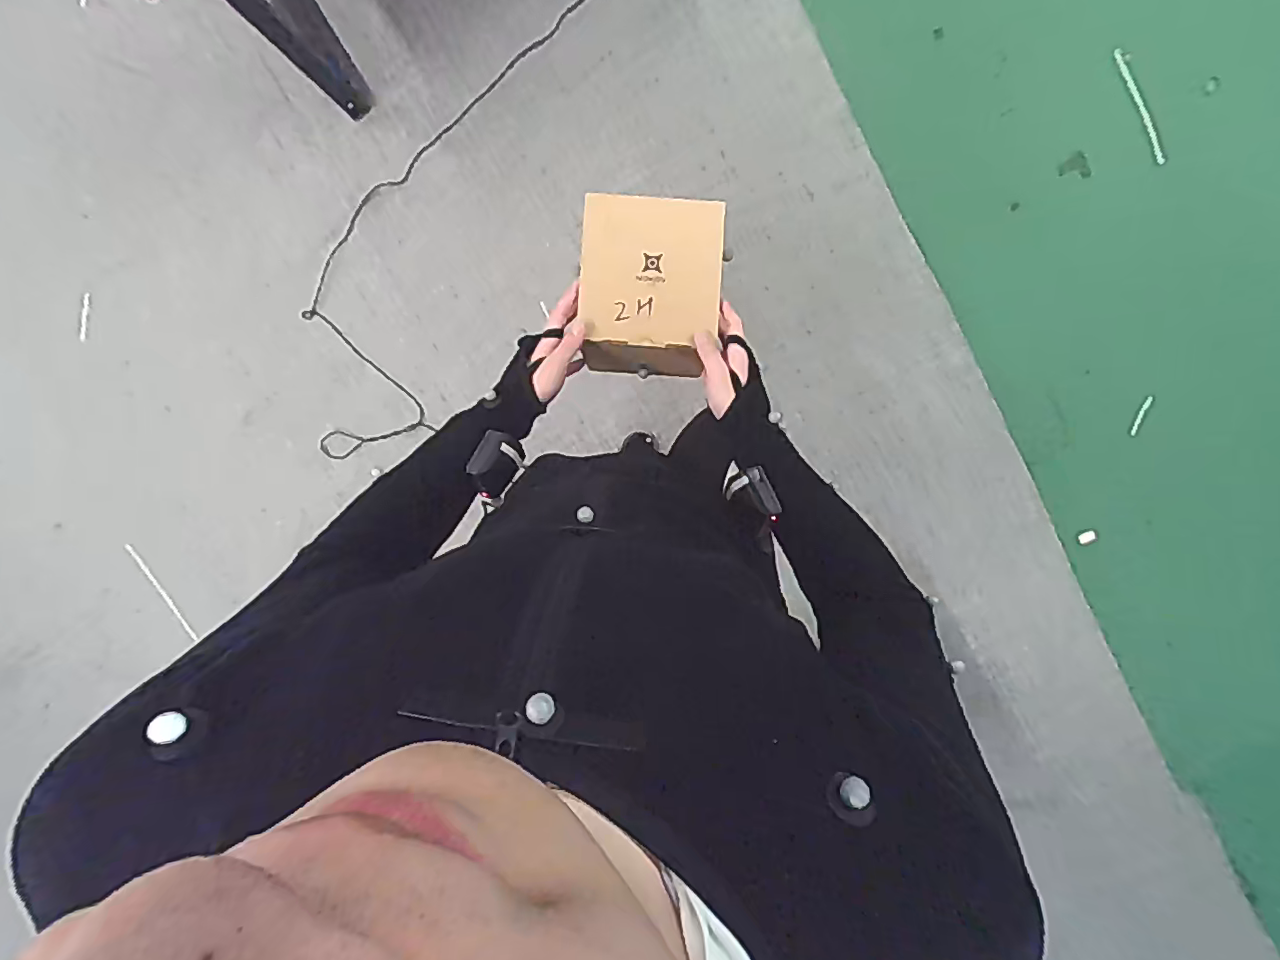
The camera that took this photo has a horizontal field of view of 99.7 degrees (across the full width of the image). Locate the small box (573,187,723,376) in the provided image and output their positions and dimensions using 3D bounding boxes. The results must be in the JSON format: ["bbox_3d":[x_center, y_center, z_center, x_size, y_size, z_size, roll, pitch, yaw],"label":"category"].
[{"bbox_3d":[0.009,-0.245,0.702,0.168,0.176,0.179,3,89,0],"label":"small box"}]
